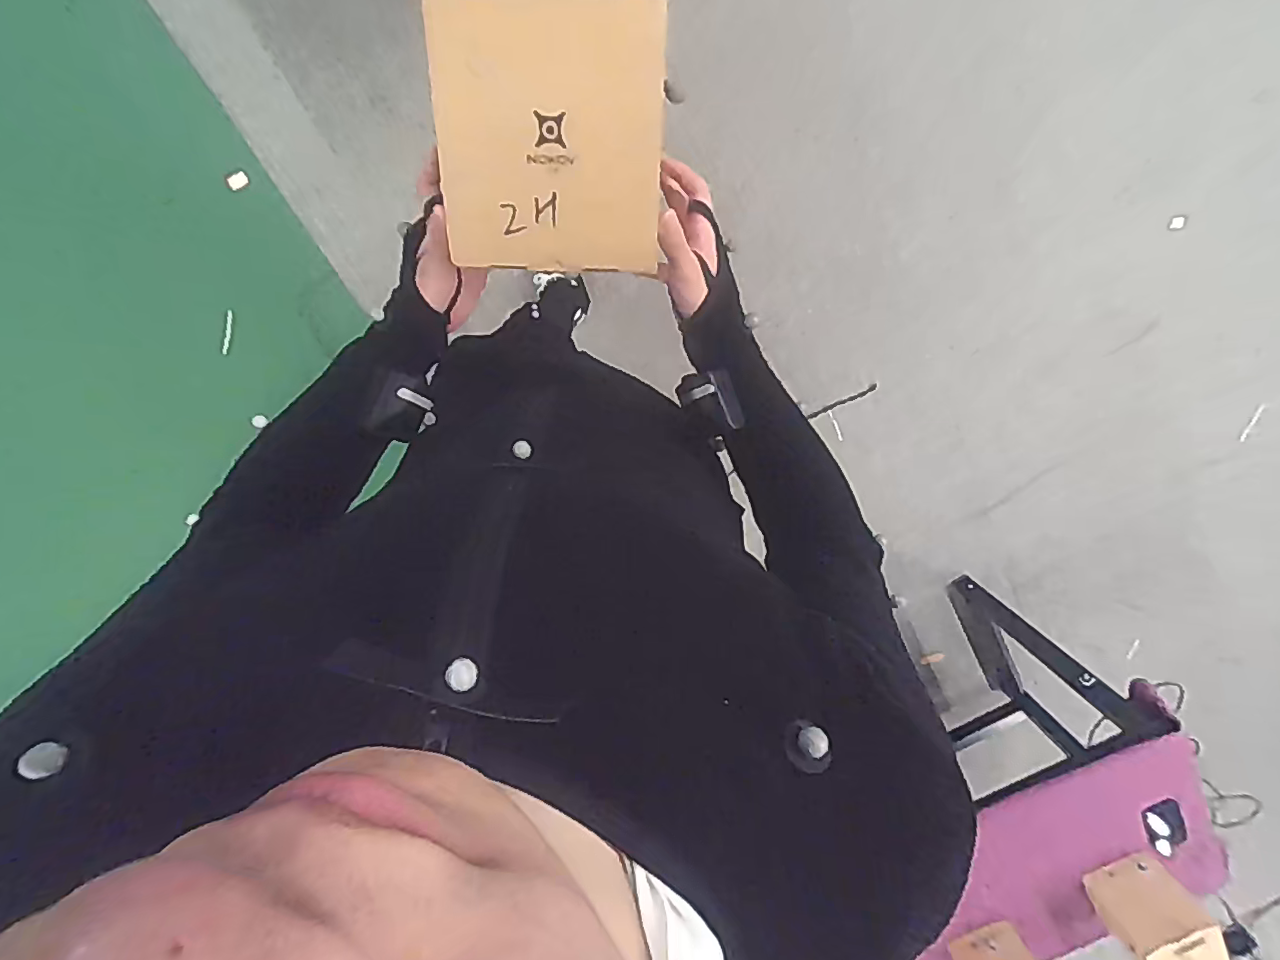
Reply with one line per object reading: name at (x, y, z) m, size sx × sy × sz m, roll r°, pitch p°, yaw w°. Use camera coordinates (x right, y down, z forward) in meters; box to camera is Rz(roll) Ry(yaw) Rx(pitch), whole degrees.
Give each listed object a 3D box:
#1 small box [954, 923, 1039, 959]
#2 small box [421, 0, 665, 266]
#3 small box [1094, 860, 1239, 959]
small box at (0.901, 1.222, 1.296) m, size 0.168 × 0.176 × 0.179 m, roll -31°, pitch 108°, yaw 6°
small box at (-0.067, -0.284, 0.463) m, size 0.168 × 0.176 × 0.179 m, roll 2°, pitch 115°, yaw 1°
small box at (1.199, 1.017, 1.242) m, size 0.168 × 0.176 × 0.179 m, roll -31°, pitch 109°, yaw 7°
